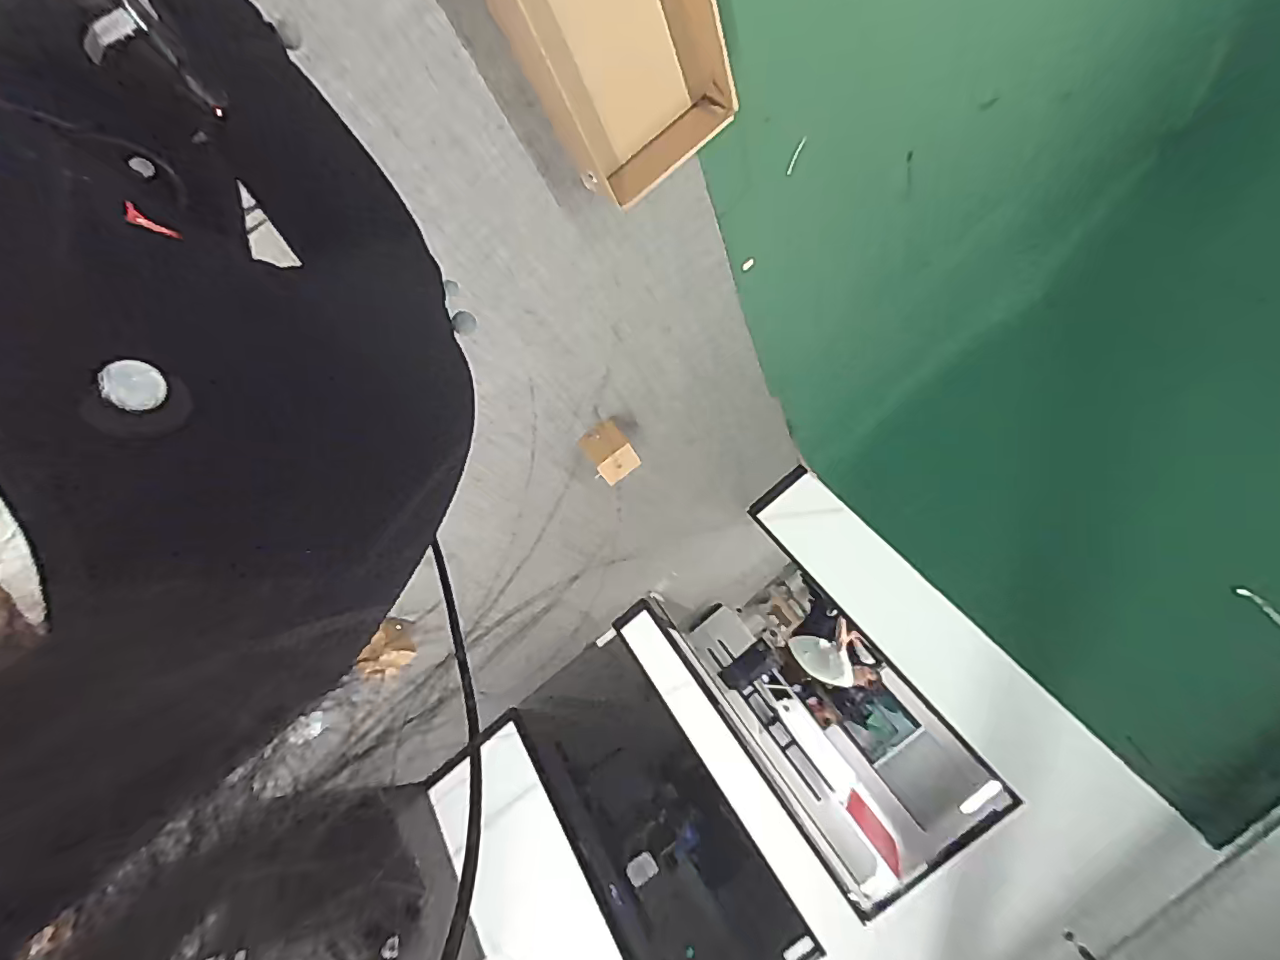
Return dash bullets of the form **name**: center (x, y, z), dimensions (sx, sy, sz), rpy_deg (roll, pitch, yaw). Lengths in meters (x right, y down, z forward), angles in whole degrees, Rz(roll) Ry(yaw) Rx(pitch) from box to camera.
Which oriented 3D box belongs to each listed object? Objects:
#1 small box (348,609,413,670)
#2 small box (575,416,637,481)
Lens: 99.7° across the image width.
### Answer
- **small box**: center (-1.114, 0.681, 2.308), dimensions (0.179, 0.176, 0.168), rpy_deg (-40, 149, 1)
- **small box**: center (-0.141, -0.134, 2.239), dimensions (0.168, 0.176, 0.179), rpy_deg (-37, 149, -2)
